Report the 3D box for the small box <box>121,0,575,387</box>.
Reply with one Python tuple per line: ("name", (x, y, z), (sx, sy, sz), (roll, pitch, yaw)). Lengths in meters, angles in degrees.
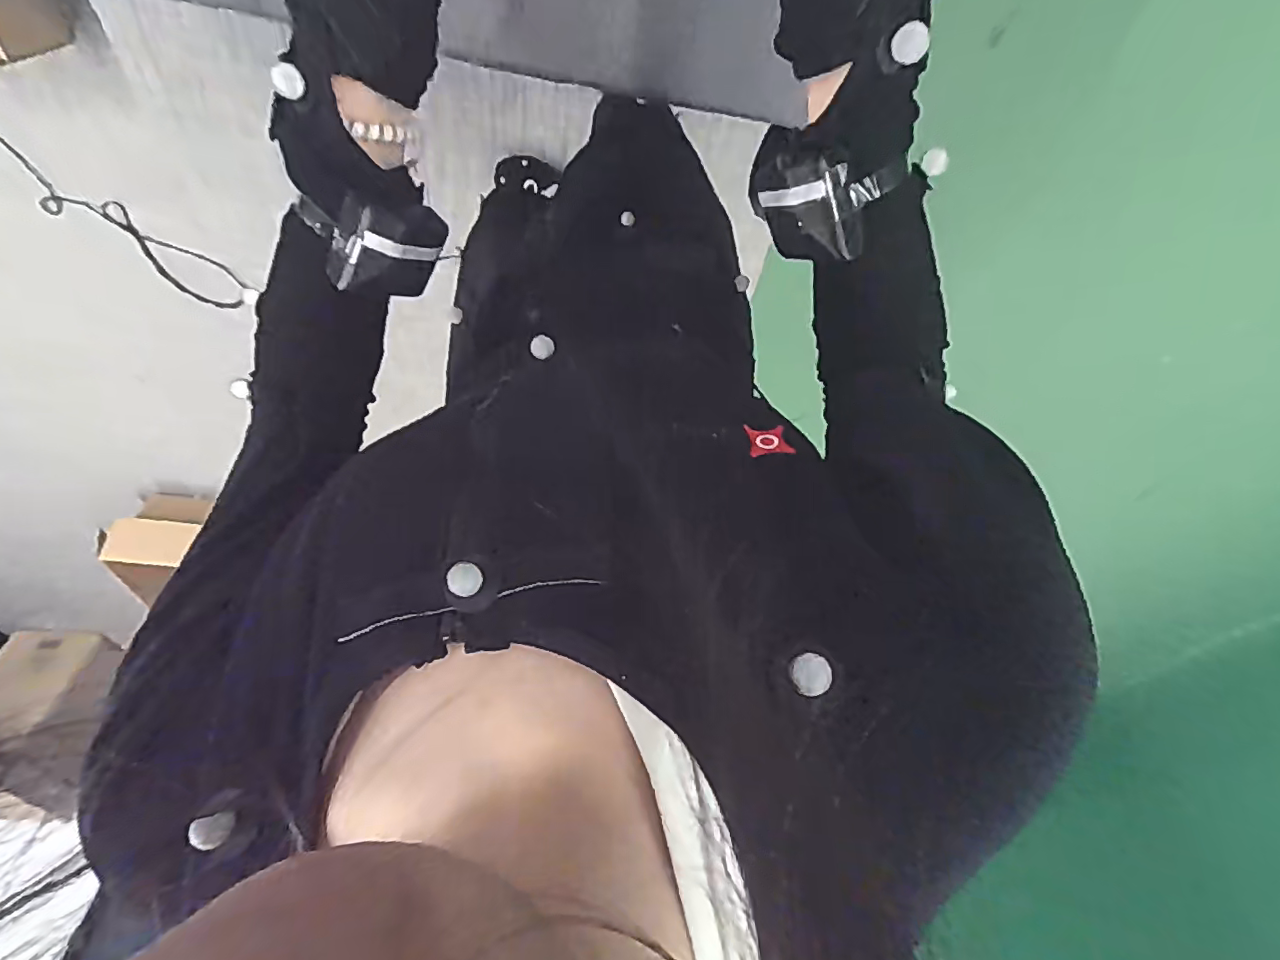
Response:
("small box", (-0.177, -0.188, 0.351), (0.176, 0.179, 0.168), (23, 179, 25))
